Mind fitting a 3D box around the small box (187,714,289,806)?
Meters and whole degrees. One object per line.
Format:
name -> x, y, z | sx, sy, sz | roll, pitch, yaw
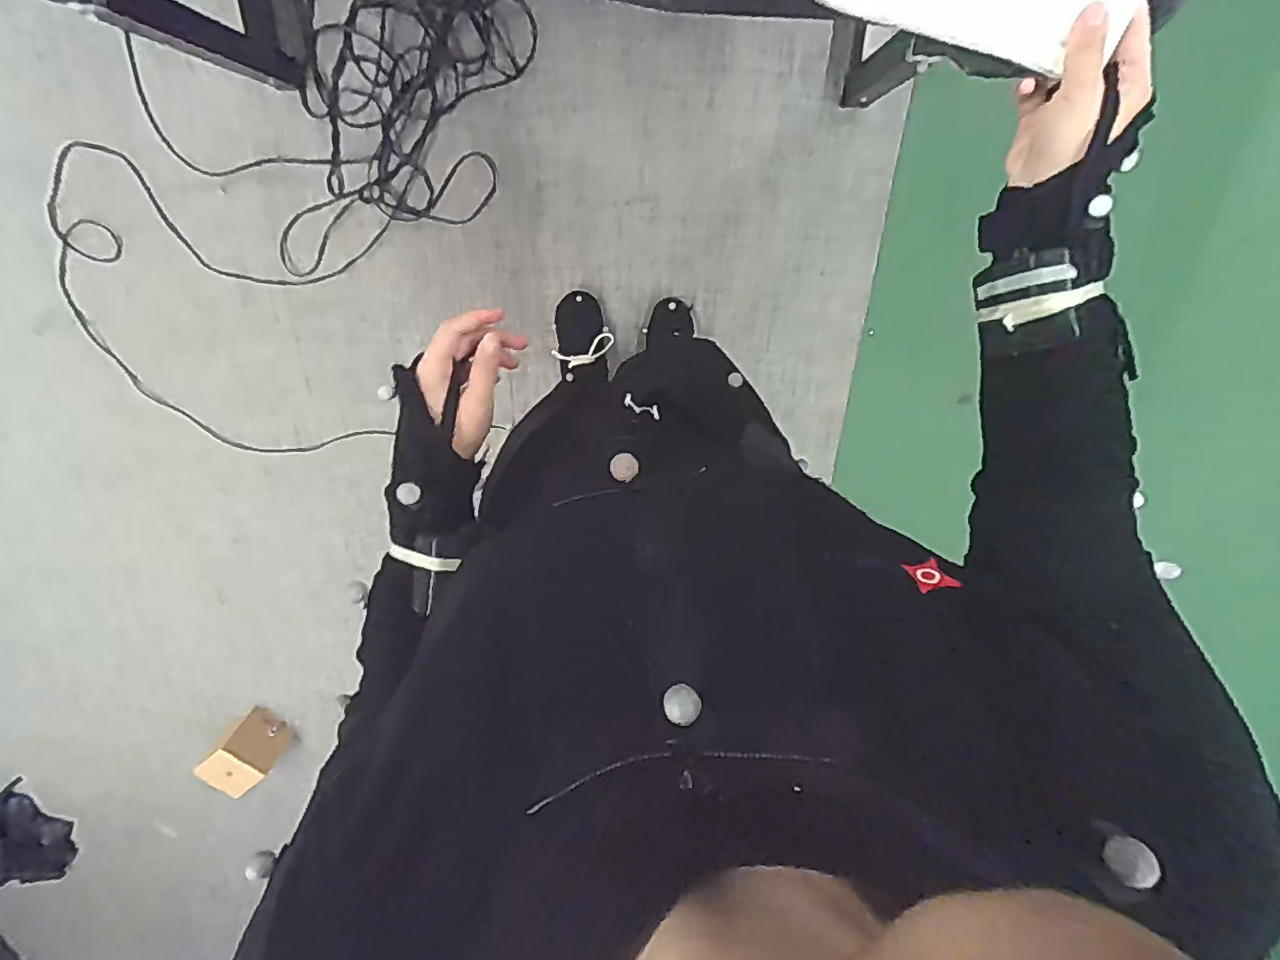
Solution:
small box -> -1.294, 0.904, 1.755 | 0.179, 0.176, 0.168 | -39, 109, 16
